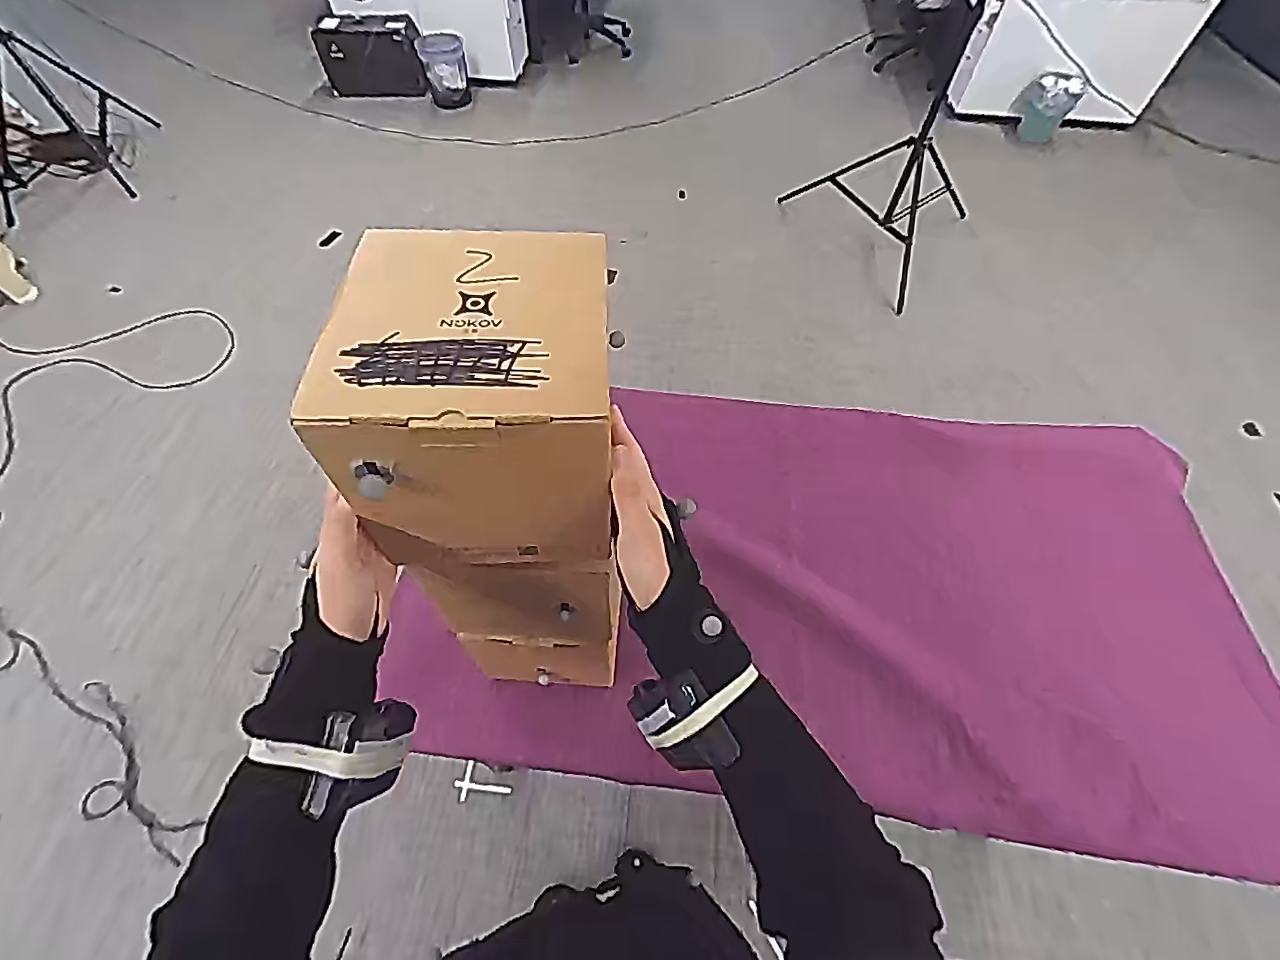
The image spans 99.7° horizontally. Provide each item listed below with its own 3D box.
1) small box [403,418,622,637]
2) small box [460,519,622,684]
[{"bbox_3d":[-0.111,0.055,0.563,0.179,0.176,0.168,2,54,1],"label":"small box"},{"bbox_3d":[-0.112,0.147,0.697,0.168,0.176,0.179,4,56,1],"label":"small box"}]
